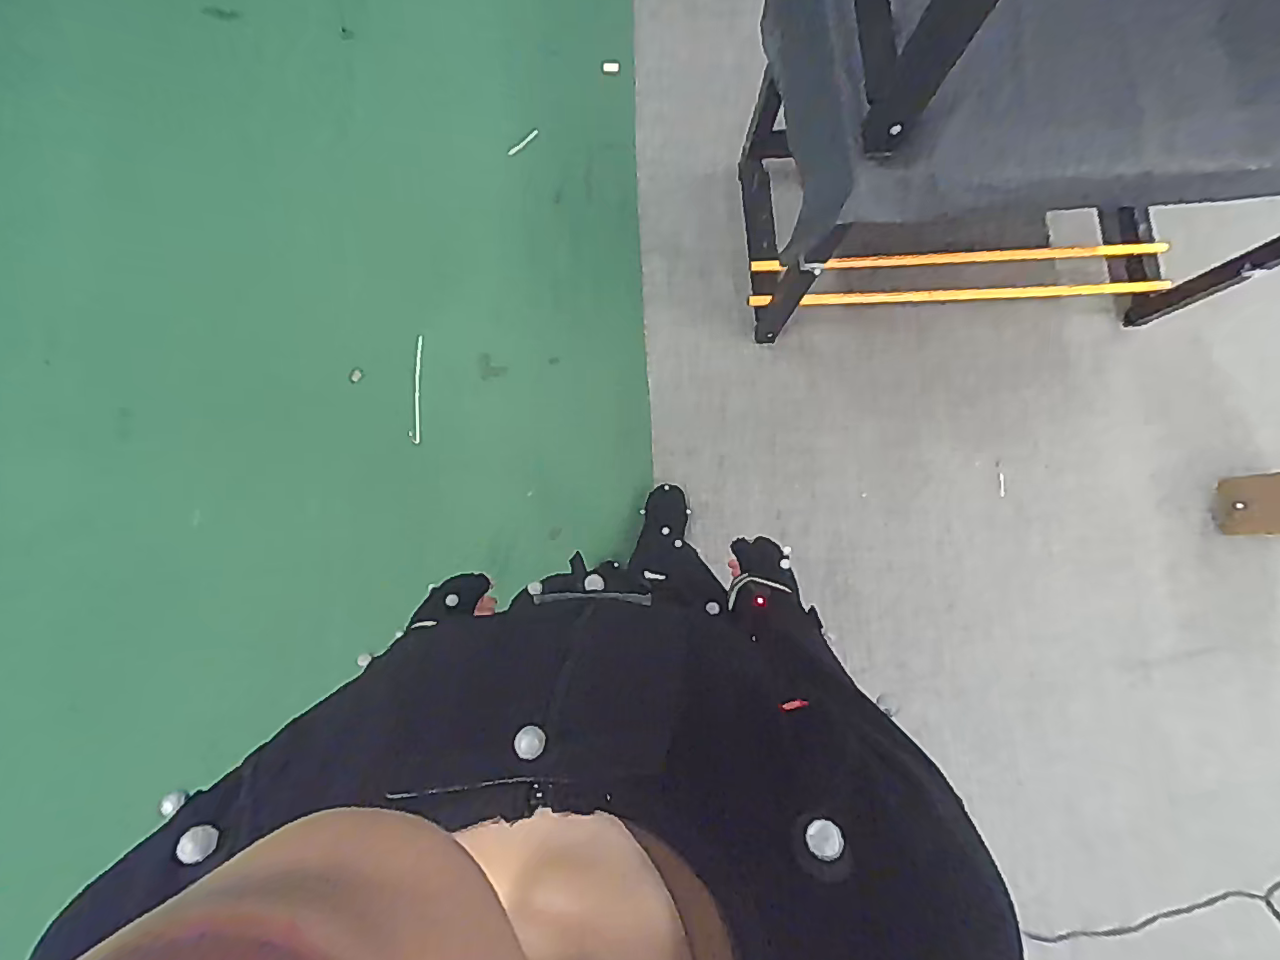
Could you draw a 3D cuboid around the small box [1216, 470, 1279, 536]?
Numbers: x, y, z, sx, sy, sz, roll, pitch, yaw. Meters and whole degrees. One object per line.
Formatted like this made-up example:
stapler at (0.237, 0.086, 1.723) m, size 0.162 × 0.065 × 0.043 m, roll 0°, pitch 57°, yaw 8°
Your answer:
small box at (1.739, 0.065, 1.467) m, size 0.179 × 0.176 × 0.168 m, roll 3°, pitch 82°, yaw -1°
